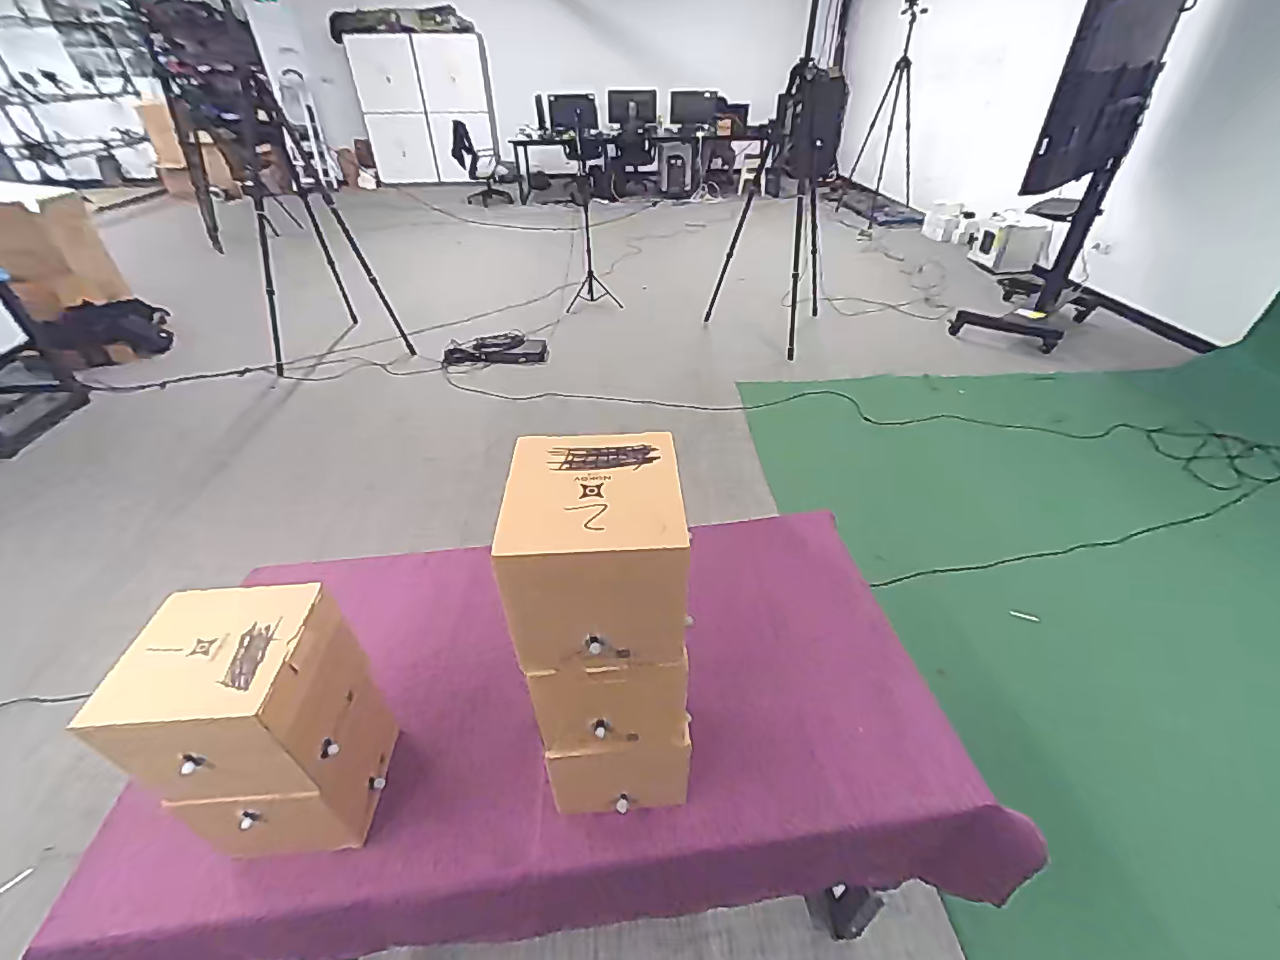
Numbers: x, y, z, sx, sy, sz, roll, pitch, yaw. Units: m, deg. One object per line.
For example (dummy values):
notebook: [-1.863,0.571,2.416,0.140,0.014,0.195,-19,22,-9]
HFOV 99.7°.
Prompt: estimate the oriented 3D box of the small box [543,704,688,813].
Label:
small box: [-0.035,0.338,0.754,0.179,0.176,0.168,-3,37,-4]

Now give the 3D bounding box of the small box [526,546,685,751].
small box: [-0.040,0.203,0.663,0.168,0.176,0.179,-3,39,-3]

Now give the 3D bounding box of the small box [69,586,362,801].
small box: [-0.450,0.243,0.618,0.179,0.176,0.168,-3,38,-3]

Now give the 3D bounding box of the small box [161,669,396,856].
small box: [-0.453,0.374,0.716,0.179,0.176,0.168,-2,38,-3]
